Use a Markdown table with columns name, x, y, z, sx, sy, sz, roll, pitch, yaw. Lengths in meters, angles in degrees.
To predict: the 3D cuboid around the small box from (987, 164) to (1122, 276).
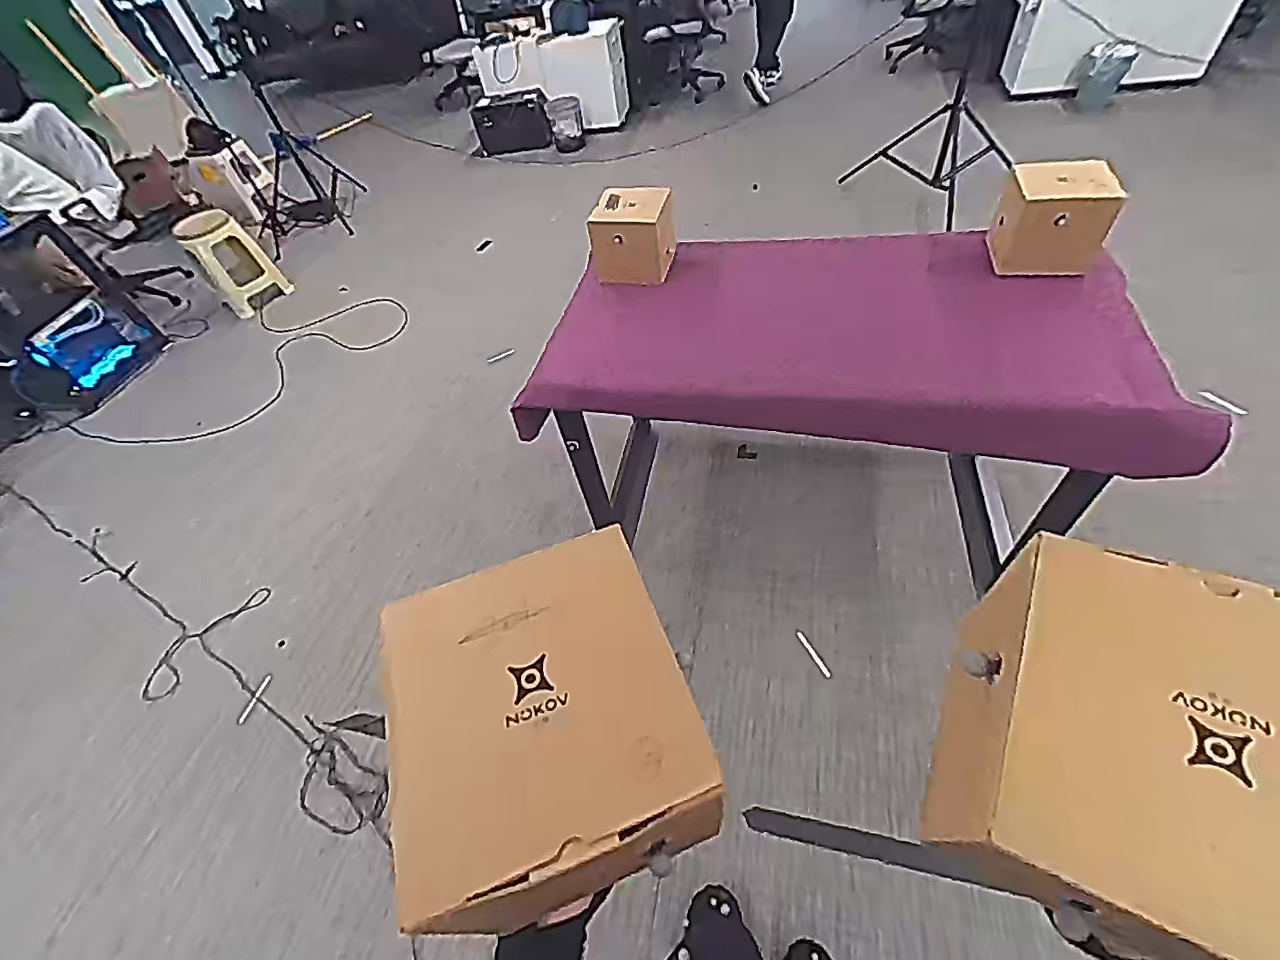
| name | x | y | z | sx | sy | sz | roll | pitch | yaw |
| --- | --- | --- | --- | --- | --- | --- | --- | --- | --- |
| small box | 0.879 | -0.560 | 1.174 | 0.179 | 0.176 | 0.168 | 6 | 53 | 14 |

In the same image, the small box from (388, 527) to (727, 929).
| name | x | y | z | sx | sy | sz | roll | pitch | yaw |
| --- | --- | --- | --- | --- | --- | --- | --- | --- | --- |
| small box | -0.052 | 0.169 | 0.372 | 0.168 | 0.176 | 0.179 | -19 | 50 | -11 |

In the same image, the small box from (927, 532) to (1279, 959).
| name | x | y | z | sx | sy | sz | roll | pitch | yaw |
| --- | --- | --- | --- | --- | --- | --- | --- | --- | --- |
| small box | 0.286 | 0.165 | 0.318 | 0.168 | 0.176 | 0.179 | 18 | 62 | 24 |

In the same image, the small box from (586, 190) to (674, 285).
| name | x | y | z | sx | sy | sz | roll | pitch | yaw |
| --- | --- | --- | --- | --- | --- | --- | --- | --- | --- |
| small box | -0.018 | -0.618 | 1.384 | 0.179 | 0.176 | 0.168 | 8 | 55 | 14 |
